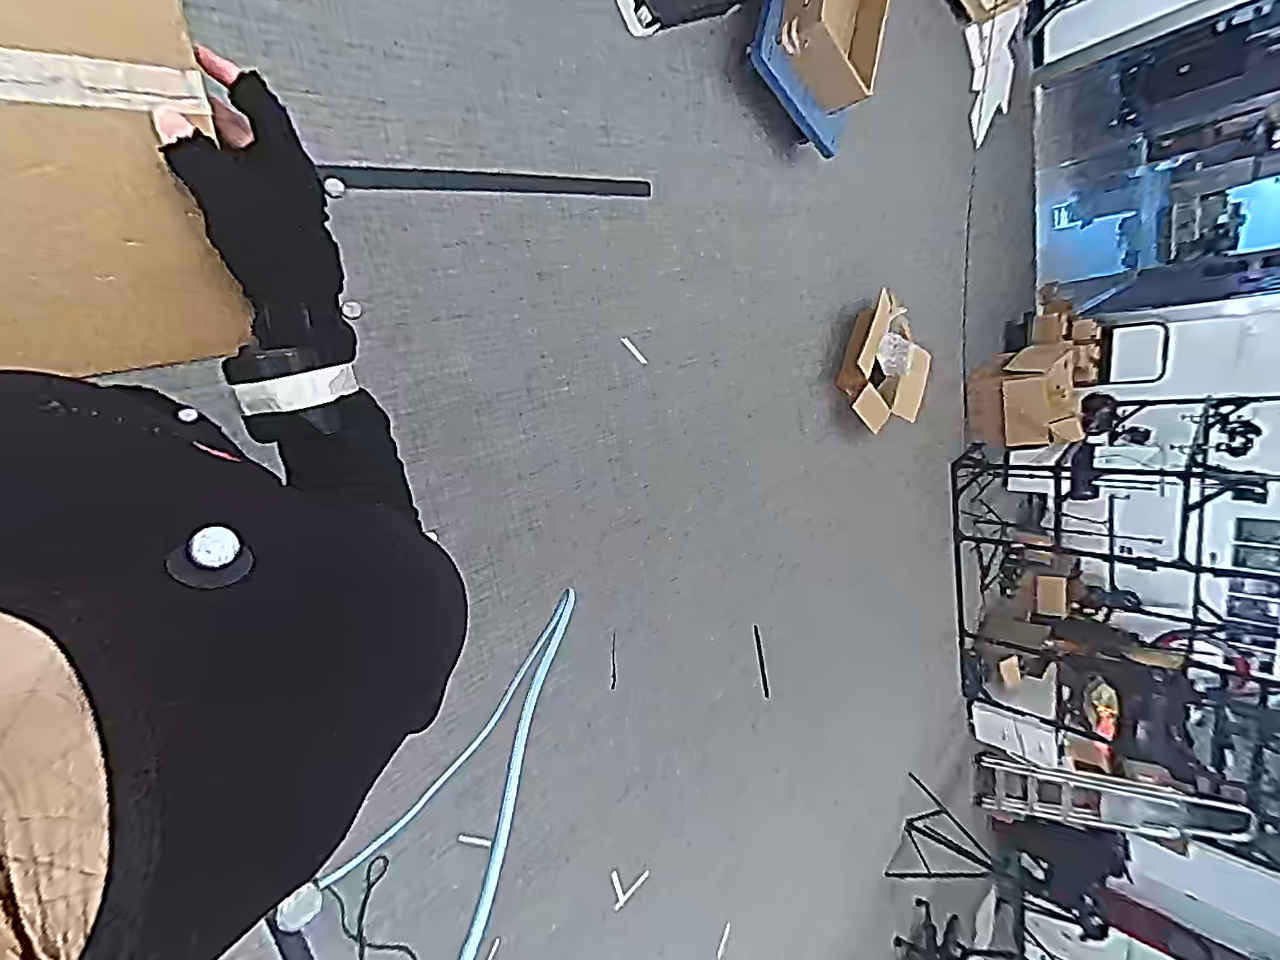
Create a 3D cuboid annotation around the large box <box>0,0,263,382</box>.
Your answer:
[{"bbox_3d":[-0.498,-0.237,0.266,0.408,0.320,0.320,-24,142,-37],"label":"large box"}]
